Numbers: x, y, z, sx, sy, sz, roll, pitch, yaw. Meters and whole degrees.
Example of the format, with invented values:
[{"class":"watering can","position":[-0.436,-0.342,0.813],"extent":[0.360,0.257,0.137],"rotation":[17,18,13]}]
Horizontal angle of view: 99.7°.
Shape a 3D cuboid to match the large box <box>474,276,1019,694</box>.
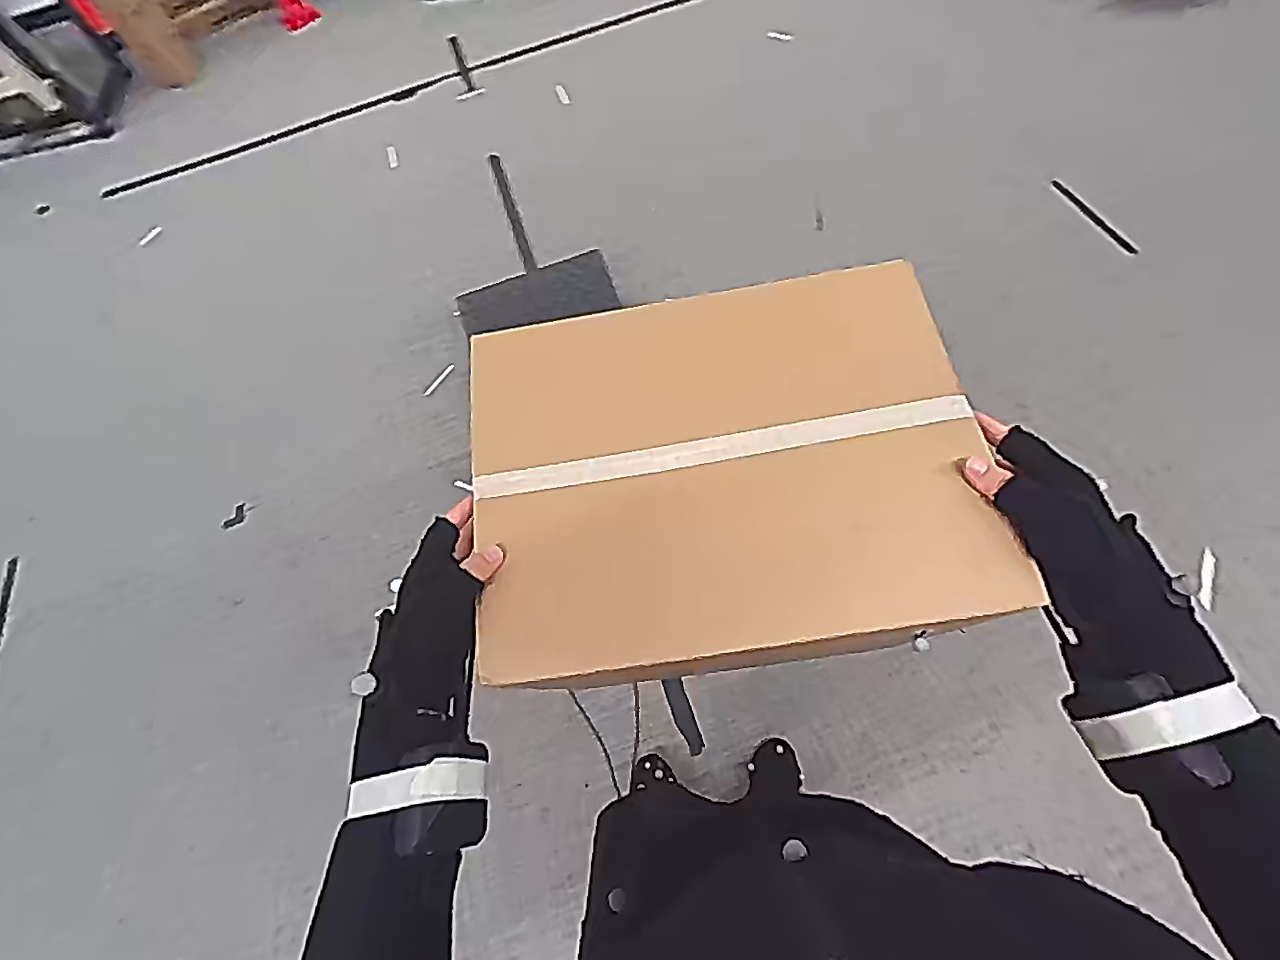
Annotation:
[{"class":"large box","position":[0.075,0.037,0.588],"extent":[0.408,0.320,0.320],"rotation":[-10,67,2]}]
